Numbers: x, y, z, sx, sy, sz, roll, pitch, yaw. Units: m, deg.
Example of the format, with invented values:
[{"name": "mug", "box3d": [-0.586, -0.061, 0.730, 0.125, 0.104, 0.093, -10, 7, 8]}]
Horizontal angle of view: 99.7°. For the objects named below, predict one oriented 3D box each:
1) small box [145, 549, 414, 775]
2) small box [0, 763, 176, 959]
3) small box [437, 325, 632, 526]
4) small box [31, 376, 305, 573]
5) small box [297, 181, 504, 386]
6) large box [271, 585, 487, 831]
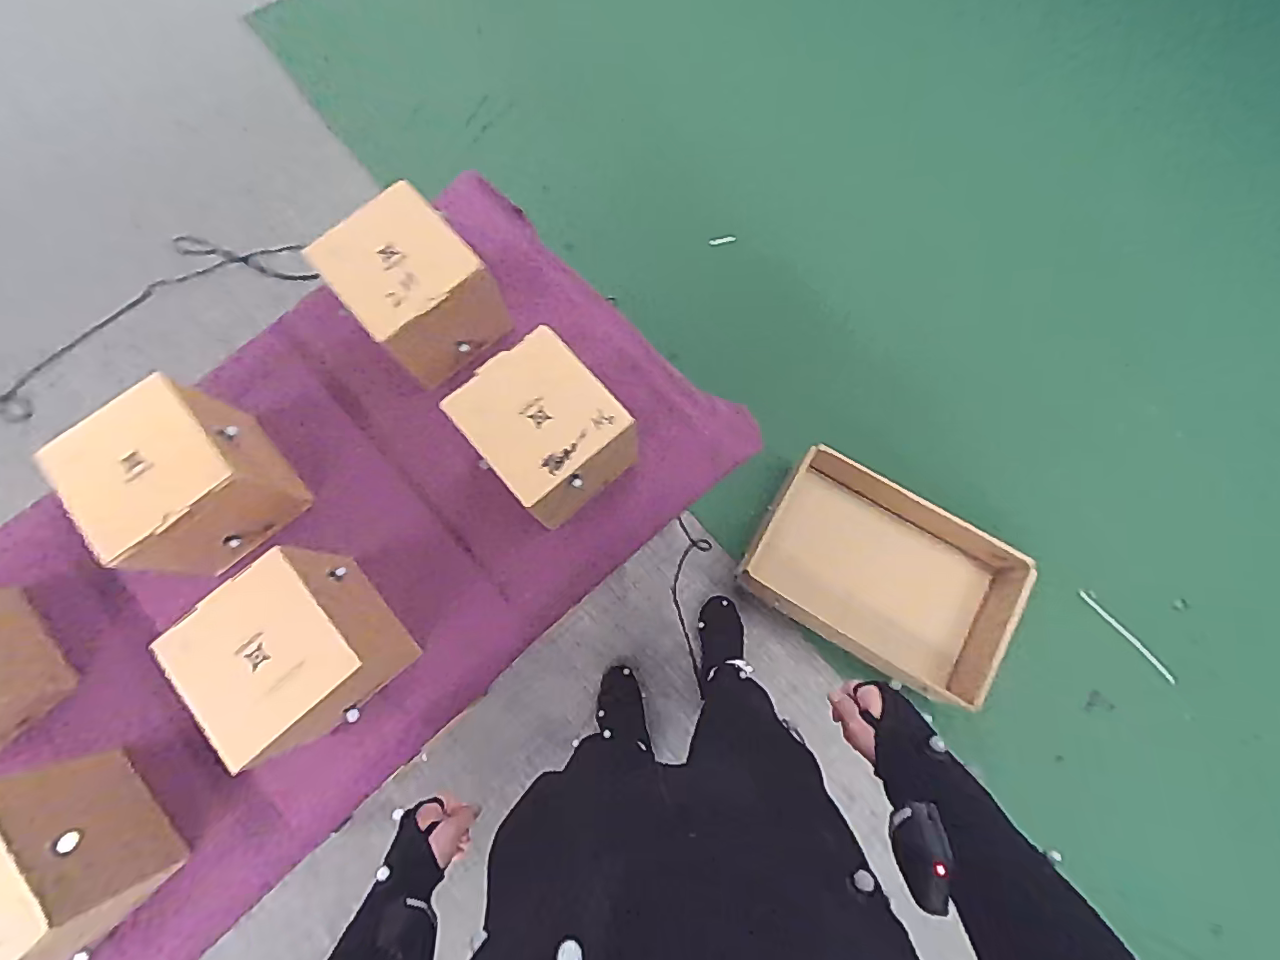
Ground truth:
[{"name": "small box", "box3d": [-0.416, 0.210, 0.655, 0.168, 0.176, 0.179, -41, 79, -8]}, {"name": "small box", "box3d": [-0.680, 0.451, 0.594, 0.168, 0.176, 0.179, -43, 79, -10]}, {"name": "small box", "box3d": [-0.127, -0.060, 0.718, 0.168, 0.176, 0.179, -41, 78, -8]}, {"name": "small box", "box3d": [-0.593, 0.005, 0.704, 0.168, 0.176, 0.179, -40, 81, -9]}, {"name": "small box", "box3d": [-0.323, -0.264, 0.765, 0.168, 0.176, 0.179, -41, 81, -7]}, {"name": "large box", "box3d": [-0.637, 0.495, 1.266, 0.320, 0.320, 0.408, -42, 79, -10]}]
